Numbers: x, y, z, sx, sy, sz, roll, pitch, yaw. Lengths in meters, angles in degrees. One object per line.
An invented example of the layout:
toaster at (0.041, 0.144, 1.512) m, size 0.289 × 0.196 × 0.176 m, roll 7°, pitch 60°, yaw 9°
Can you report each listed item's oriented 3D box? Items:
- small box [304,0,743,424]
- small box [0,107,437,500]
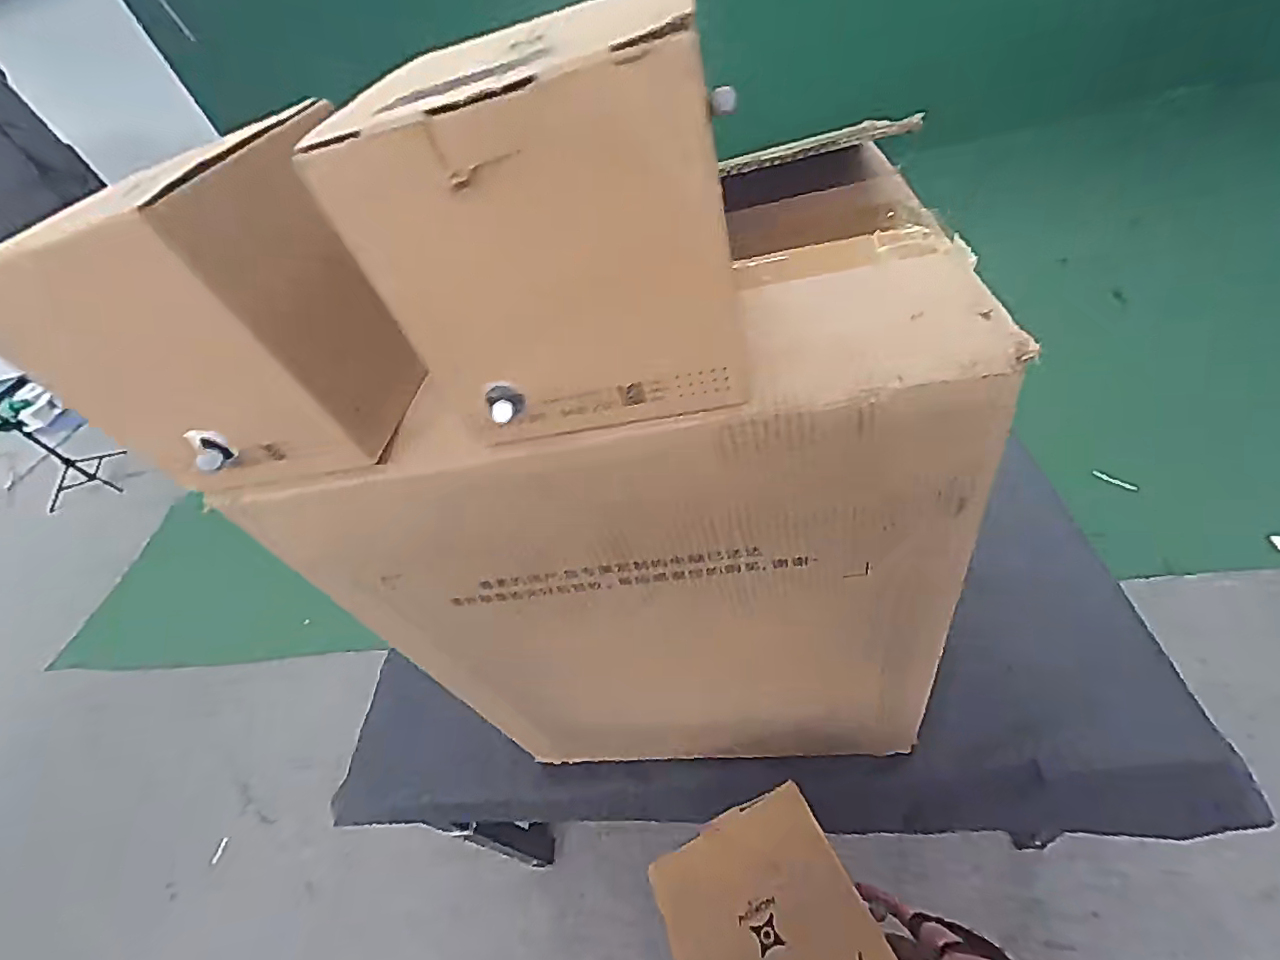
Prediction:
small box at (-0.036, -0.148, 0.315) m, size 0.168 × 0.176 × 0.179 m, roll -8°, pitch 45°, yaw 11°
small box at (-0.259, -0.111, 0.367) m, size 0.168 × 0.176 × 0.179 m, roll -9°, pitch 47°, yaw 15°
